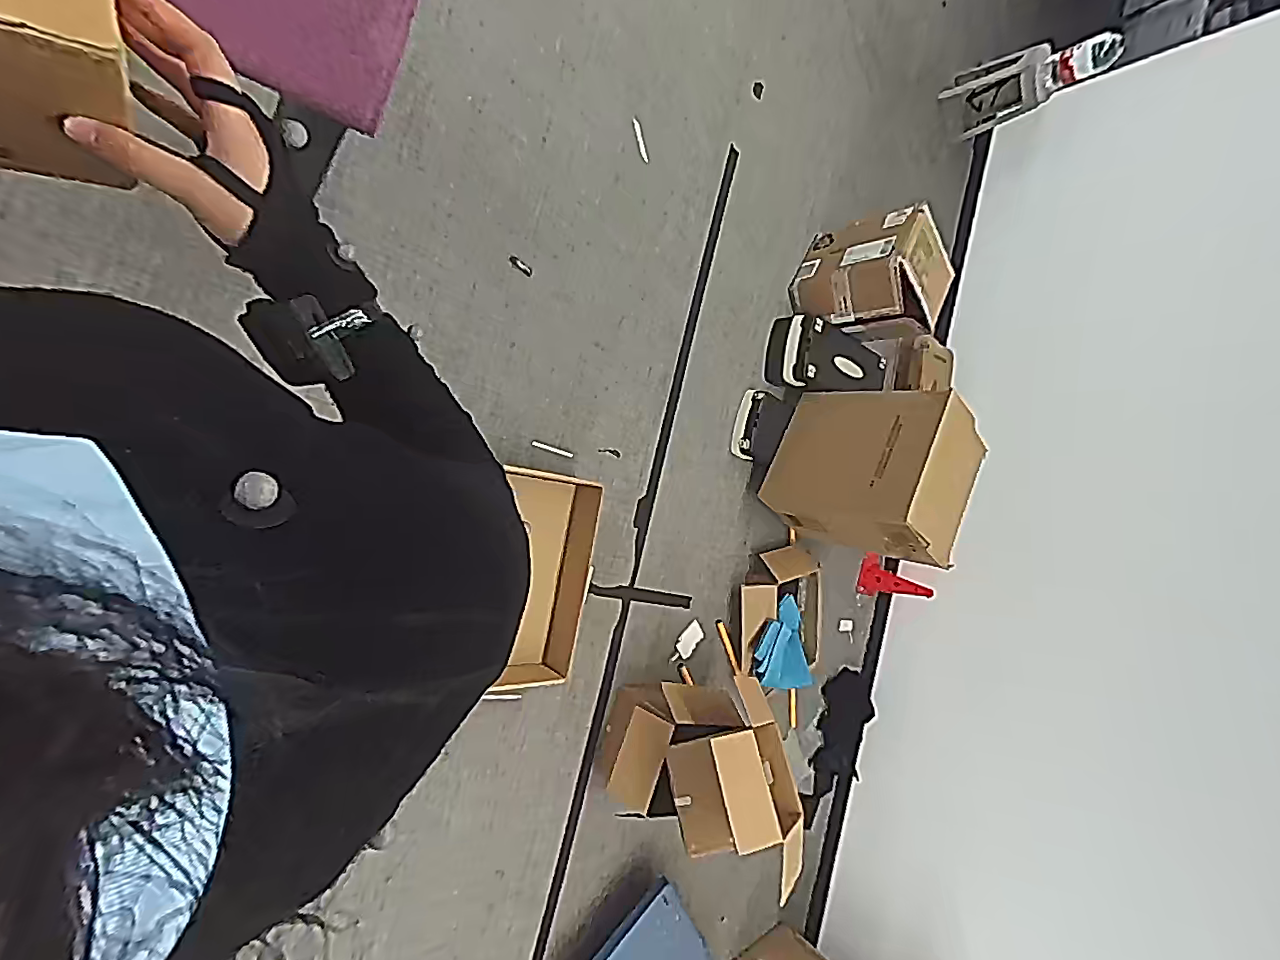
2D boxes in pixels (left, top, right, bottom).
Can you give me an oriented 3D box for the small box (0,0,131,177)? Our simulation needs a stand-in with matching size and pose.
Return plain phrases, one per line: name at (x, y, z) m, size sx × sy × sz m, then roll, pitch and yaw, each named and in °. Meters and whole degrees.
small box at (-0.356, -0.275, 0.245) m, size 0.168 × 0.176 × 0.179 m, roll -9°, pitch 99°, yaw -41°
